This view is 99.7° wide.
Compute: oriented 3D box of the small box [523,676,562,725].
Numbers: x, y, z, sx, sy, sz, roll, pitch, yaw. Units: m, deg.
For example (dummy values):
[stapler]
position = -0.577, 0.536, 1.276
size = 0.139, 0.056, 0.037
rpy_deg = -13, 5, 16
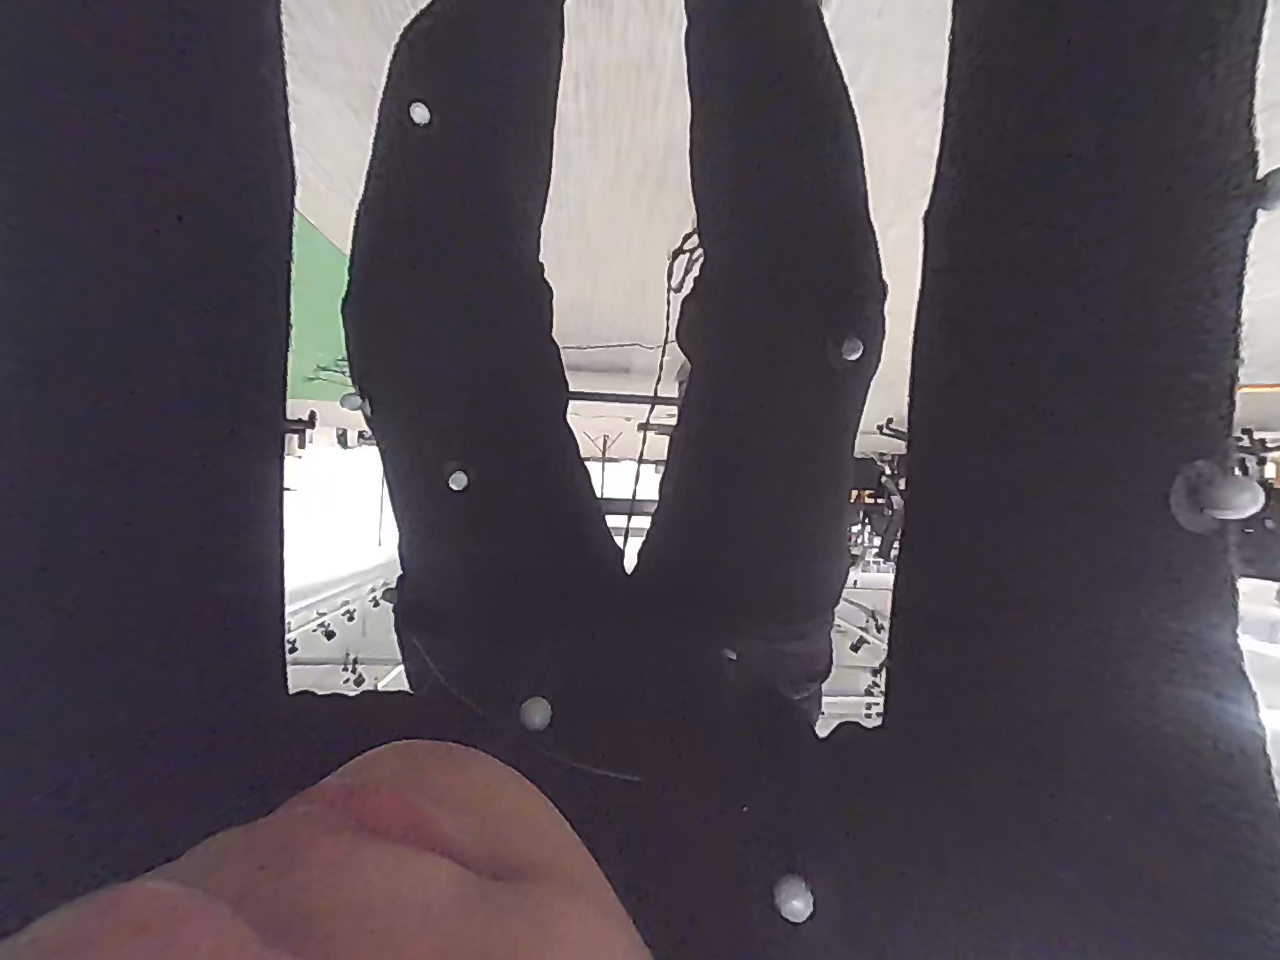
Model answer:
[small box]
position = -0.465, 1.053, 2.592
size = 0.168, 0.176, 0.179
rpy_deg = 3, -179, -3
